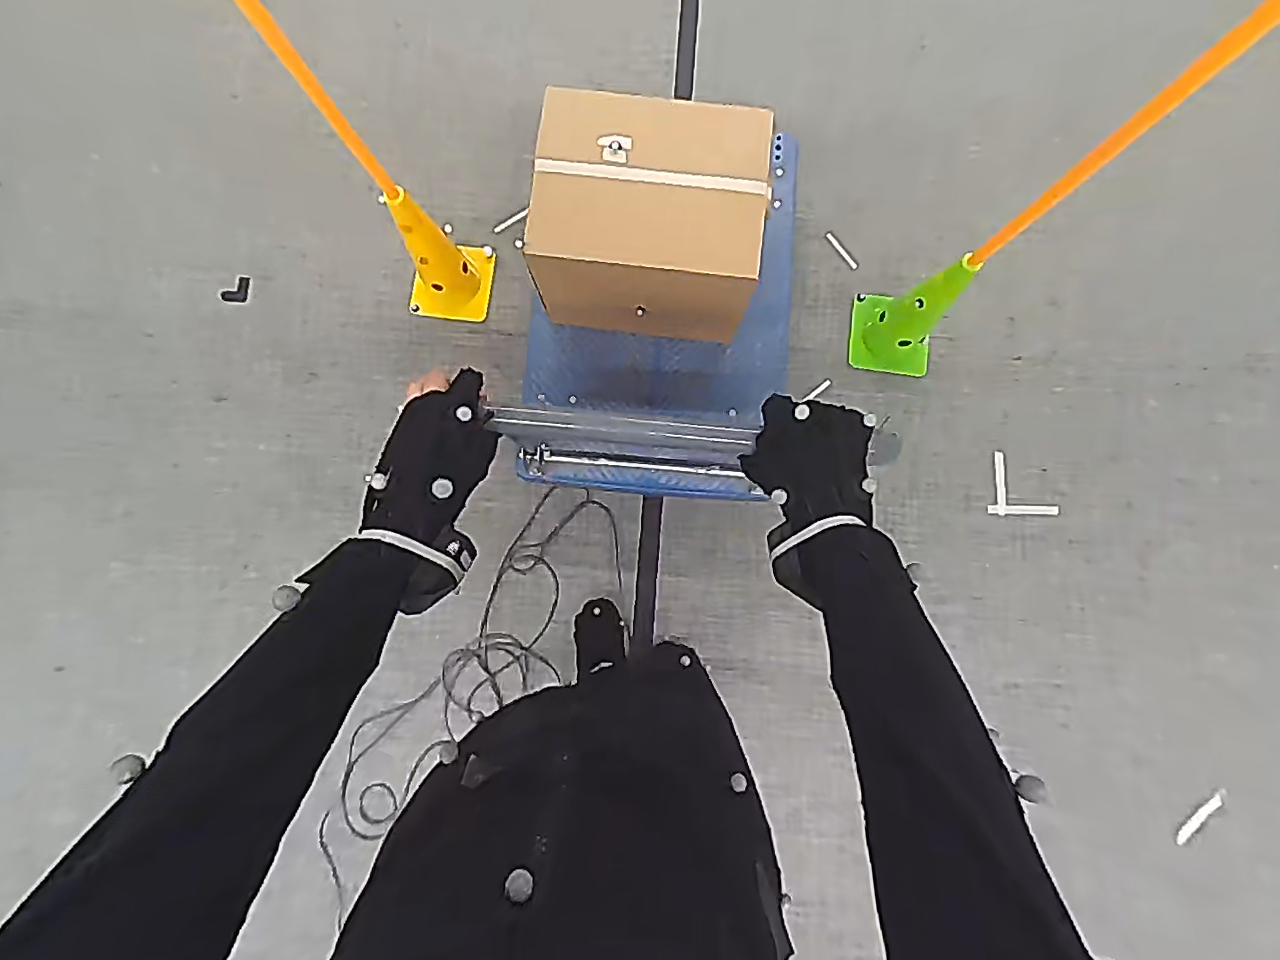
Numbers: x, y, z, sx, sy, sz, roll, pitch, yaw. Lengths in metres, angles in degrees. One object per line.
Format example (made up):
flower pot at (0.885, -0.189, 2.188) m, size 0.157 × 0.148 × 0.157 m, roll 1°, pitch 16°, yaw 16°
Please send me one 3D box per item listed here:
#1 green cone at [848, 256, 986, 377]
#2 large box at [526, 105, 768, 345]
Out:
green cone at (0.642, -0.390, 1.220) m, size 0.202 × 0.368 × 0.200 m, roll 8°, pitch 83°, yaw 0°
large box at (0.020, -0.485, 1.093) m, size 0.408 × 0.320 × 0.320 m, roll 7°, pitch 84°, yaw 2°
